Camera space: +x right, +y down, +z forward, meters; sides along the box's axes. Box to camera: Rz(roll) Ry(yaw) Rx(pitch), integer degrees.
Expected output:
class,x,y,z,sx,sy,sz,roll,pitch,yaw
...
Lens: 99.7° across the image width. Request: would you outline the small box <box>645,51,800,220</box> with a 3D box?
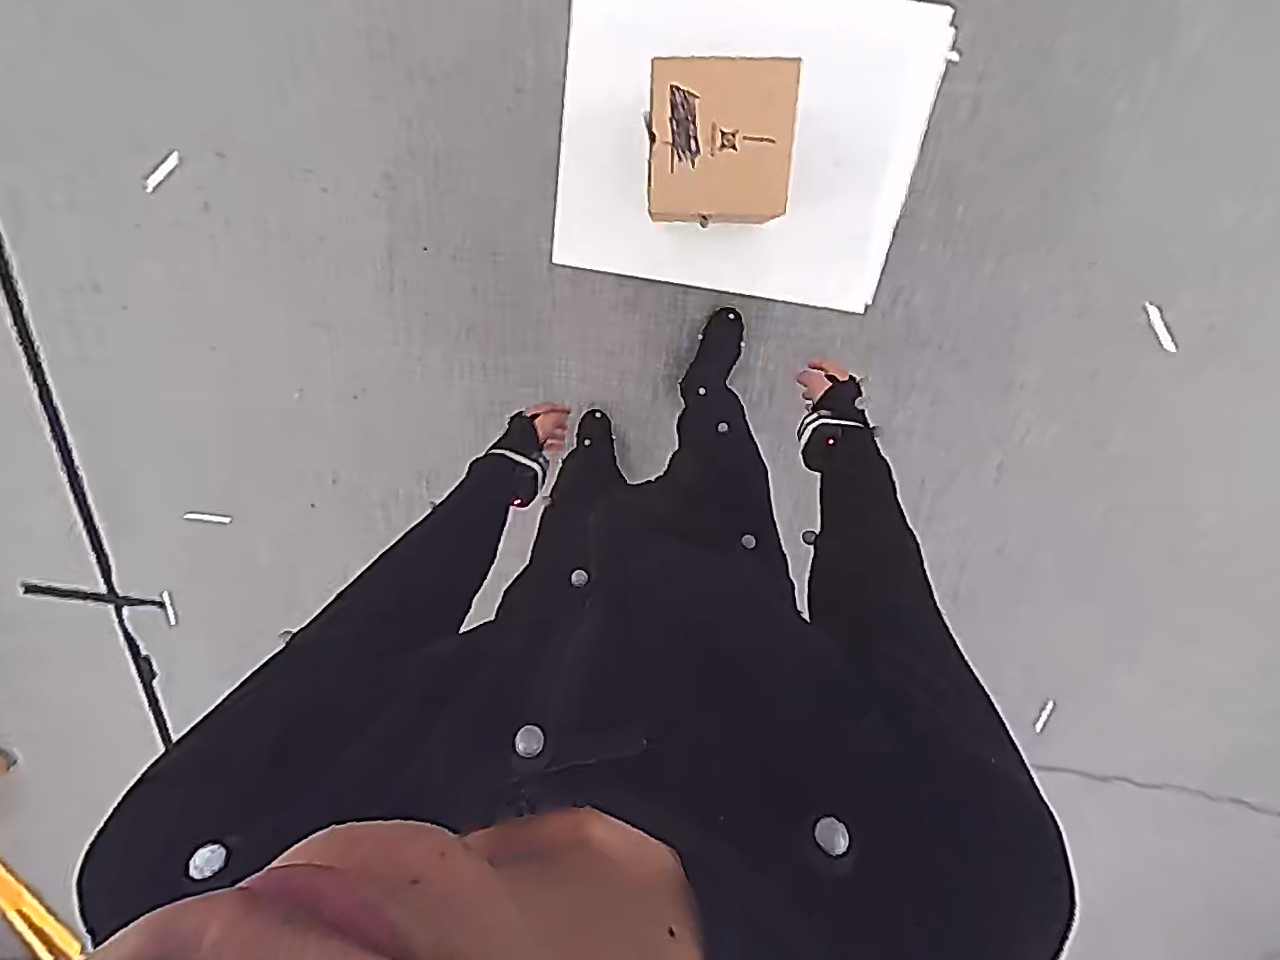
class,x,y,z,sx,sy,sz,roll,pitch,yaw
small box,0.099,-0.445,0.724,0.179,0.176,0.168,2,113,1
